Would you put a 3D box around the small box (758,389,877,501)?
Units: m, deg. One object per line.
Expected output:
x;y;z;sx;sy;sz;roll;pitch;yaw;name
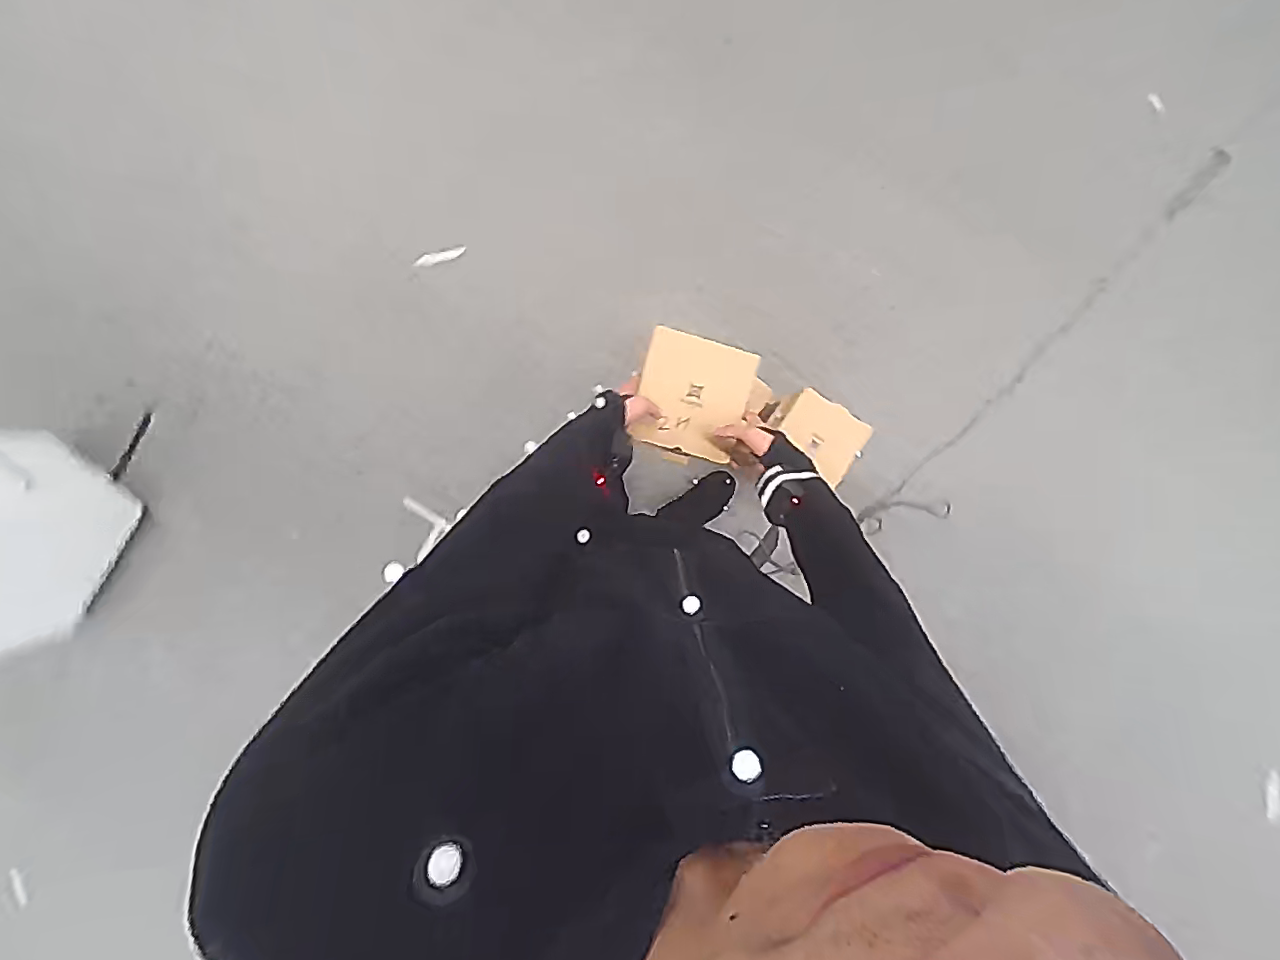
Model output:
0.375;-0.075;1.186;0.168;0.176;0.179;34;95;3;small box

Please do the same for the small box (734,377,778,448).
0.218;-0.197;1.358;0.179;0.176;0.168;39;96;3;small box

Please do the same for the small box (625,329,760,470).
0.074;-0.128;0.886;0.168;0.176;0.179;16;96;-5;small box
